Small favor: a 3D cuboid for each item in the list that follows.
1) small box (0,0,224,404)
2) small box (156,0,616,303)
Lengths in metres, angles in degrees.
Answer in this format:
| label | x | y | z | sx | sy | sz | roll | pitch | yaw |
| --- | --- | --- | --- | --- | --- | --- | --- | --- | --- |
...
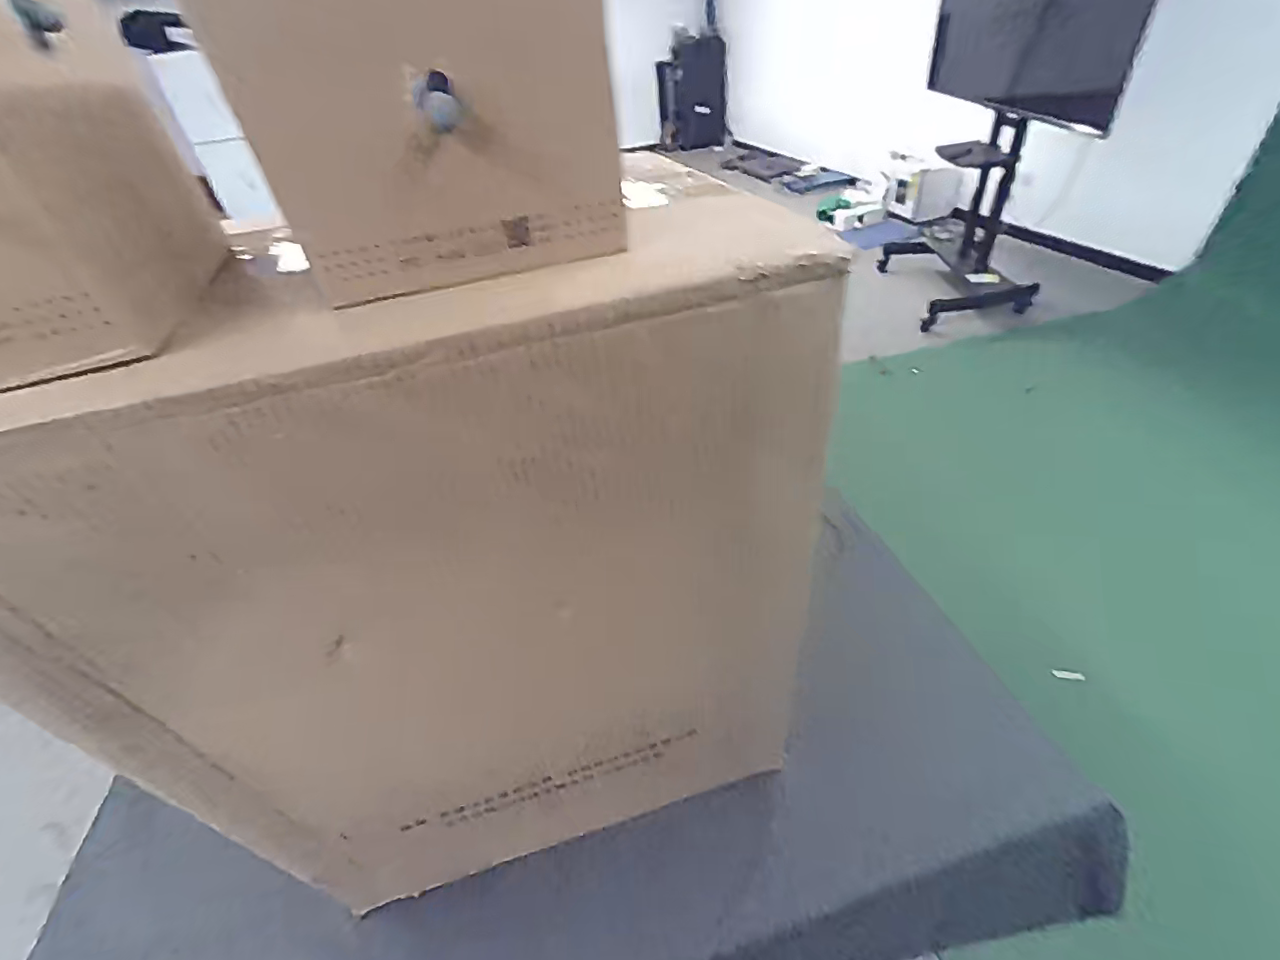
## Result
| label | x | y | z | sx | sy | sz | roll | pitch | yaw |
| --- | --- | --- | --- | --- | --- | --- | --- | --- | --- |
| small box | -0.344 | -0.139 | 0.255 | 0.168 | 0.176 | 0.179 | -17 | 41 | -11 |
| small box | -0.117 | -0.213 | 0.303 | 0.168 | 0.176 | 0.179 | -15 | 42 | -9 |
